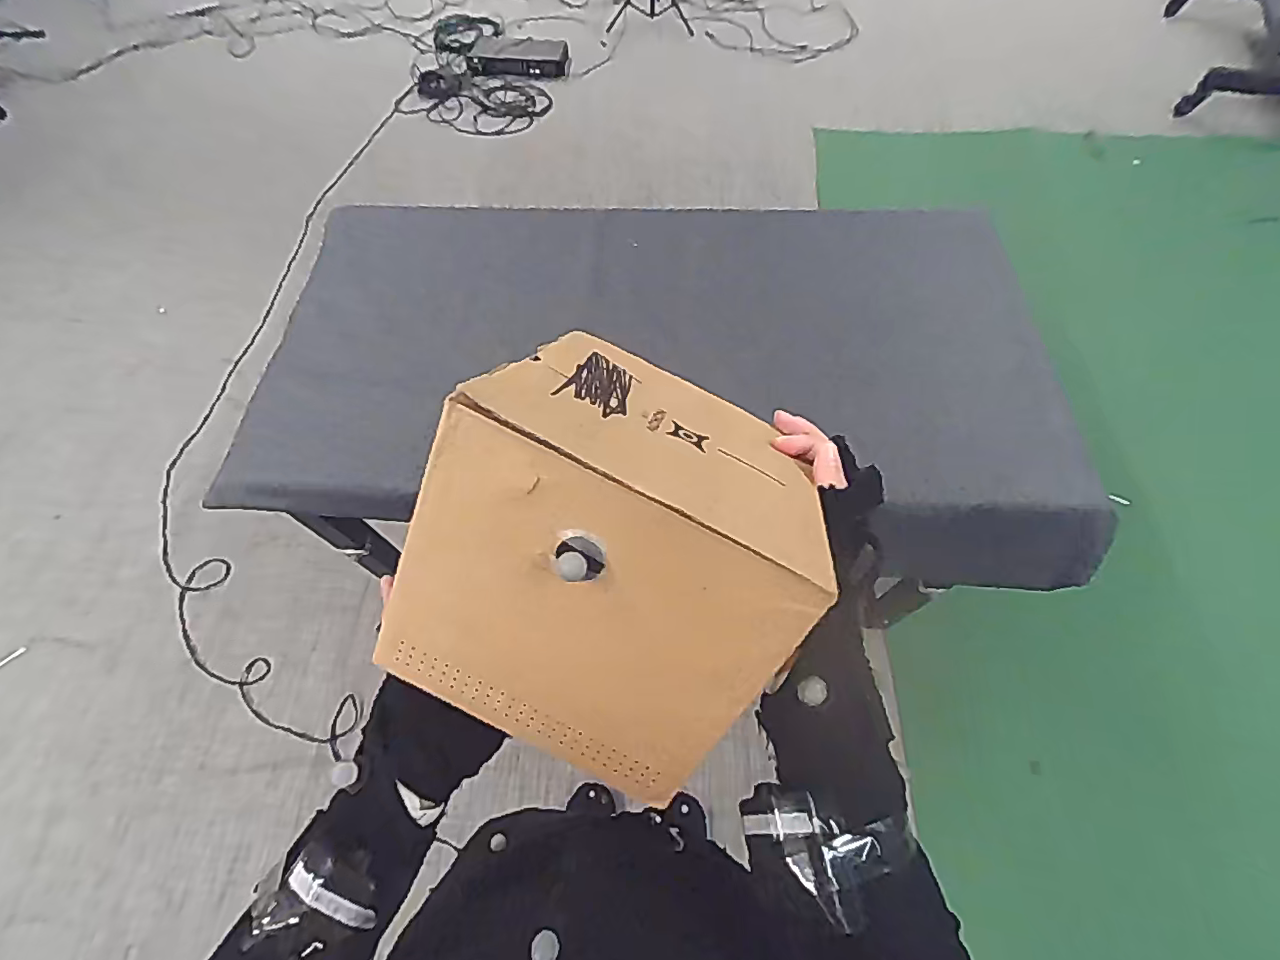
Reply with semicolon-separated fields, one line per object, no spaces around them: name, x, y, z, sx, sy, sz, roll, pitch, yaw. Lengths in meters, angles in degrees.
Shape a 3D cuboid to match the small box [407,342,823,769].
small box;-0.015;0.039;0.338;0.179;0.176;0.168;27;27;-1
